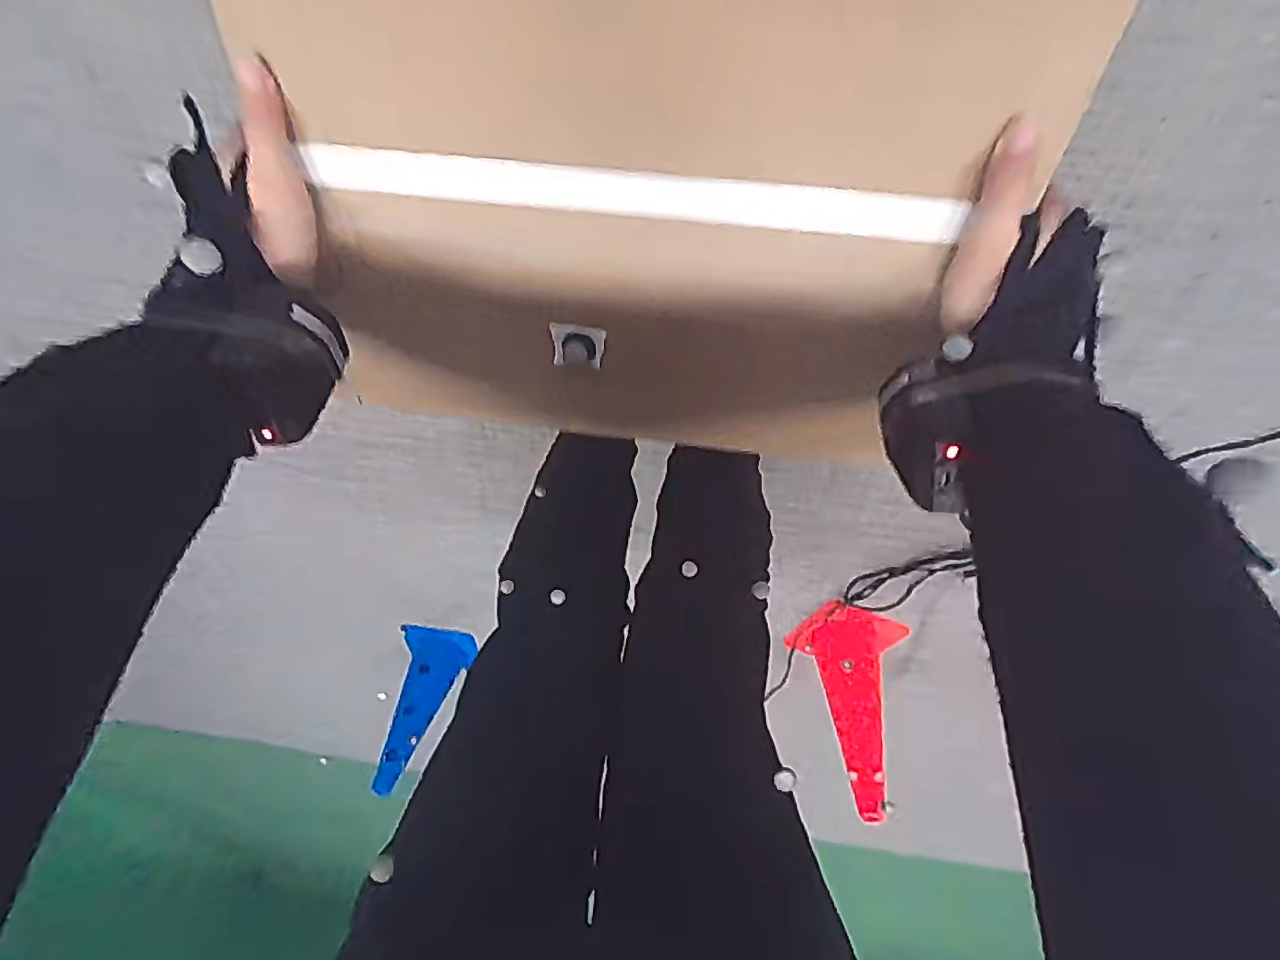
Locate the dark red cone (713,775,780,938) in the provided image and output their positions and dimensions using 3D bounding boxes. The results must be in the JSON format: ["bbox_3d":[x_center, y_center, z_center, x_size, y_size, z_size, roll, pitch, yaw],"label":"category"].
[{"bbox_3d":[0.308,1.075,1.571,0.202,0.394,0.201,2,134,9],"label":"dark red cone"}]

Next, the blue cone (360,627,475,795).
[{"bbox_3d":[-0.565,0.566,1.329,0.192,0.380,0.193,8,132,4],"label":"blue cone"}]

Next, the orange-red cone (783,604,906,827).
[{"bbox_3d":[0.410,0.450,1.025,0.199,0.360,0.198,21,133,-11],"label":"orange-red cone"}]
